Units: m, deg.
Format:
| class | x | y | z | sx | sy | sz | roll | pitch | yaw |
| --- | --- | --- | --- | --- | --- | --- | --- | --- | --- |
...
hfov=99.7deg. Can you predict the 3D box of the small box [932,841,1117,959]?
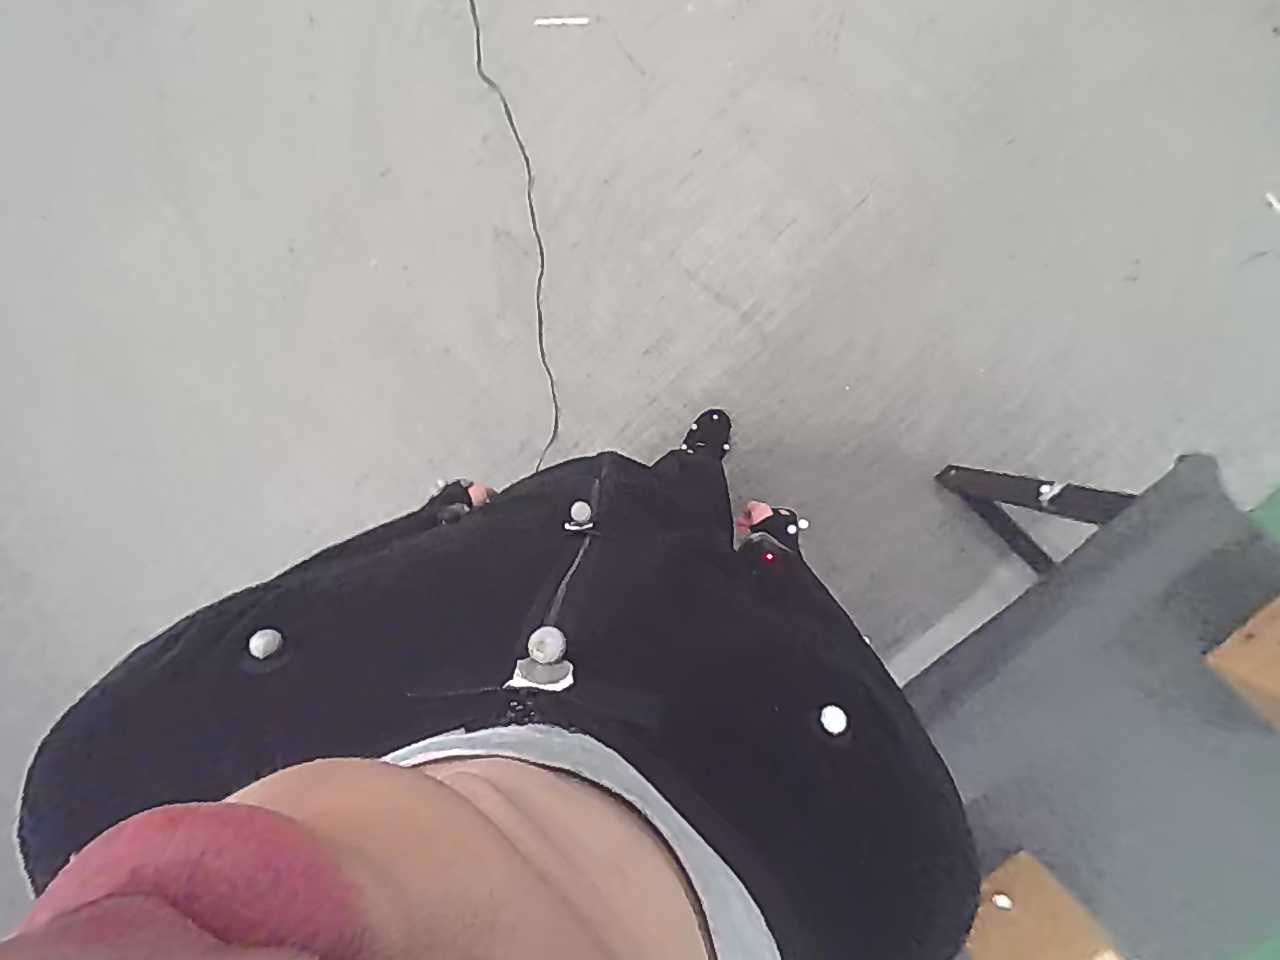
| class | x | y | z | sx | sy | sz | roll | pitch | yaw |
| --- | --- | --- | --- | --- | --- | --- | --- | --- | --- |
| small box | 0.593 | 0.705 | 0.818 | 0.168 | 0.176 | 0.179 | -44 | 93 | 6 |
